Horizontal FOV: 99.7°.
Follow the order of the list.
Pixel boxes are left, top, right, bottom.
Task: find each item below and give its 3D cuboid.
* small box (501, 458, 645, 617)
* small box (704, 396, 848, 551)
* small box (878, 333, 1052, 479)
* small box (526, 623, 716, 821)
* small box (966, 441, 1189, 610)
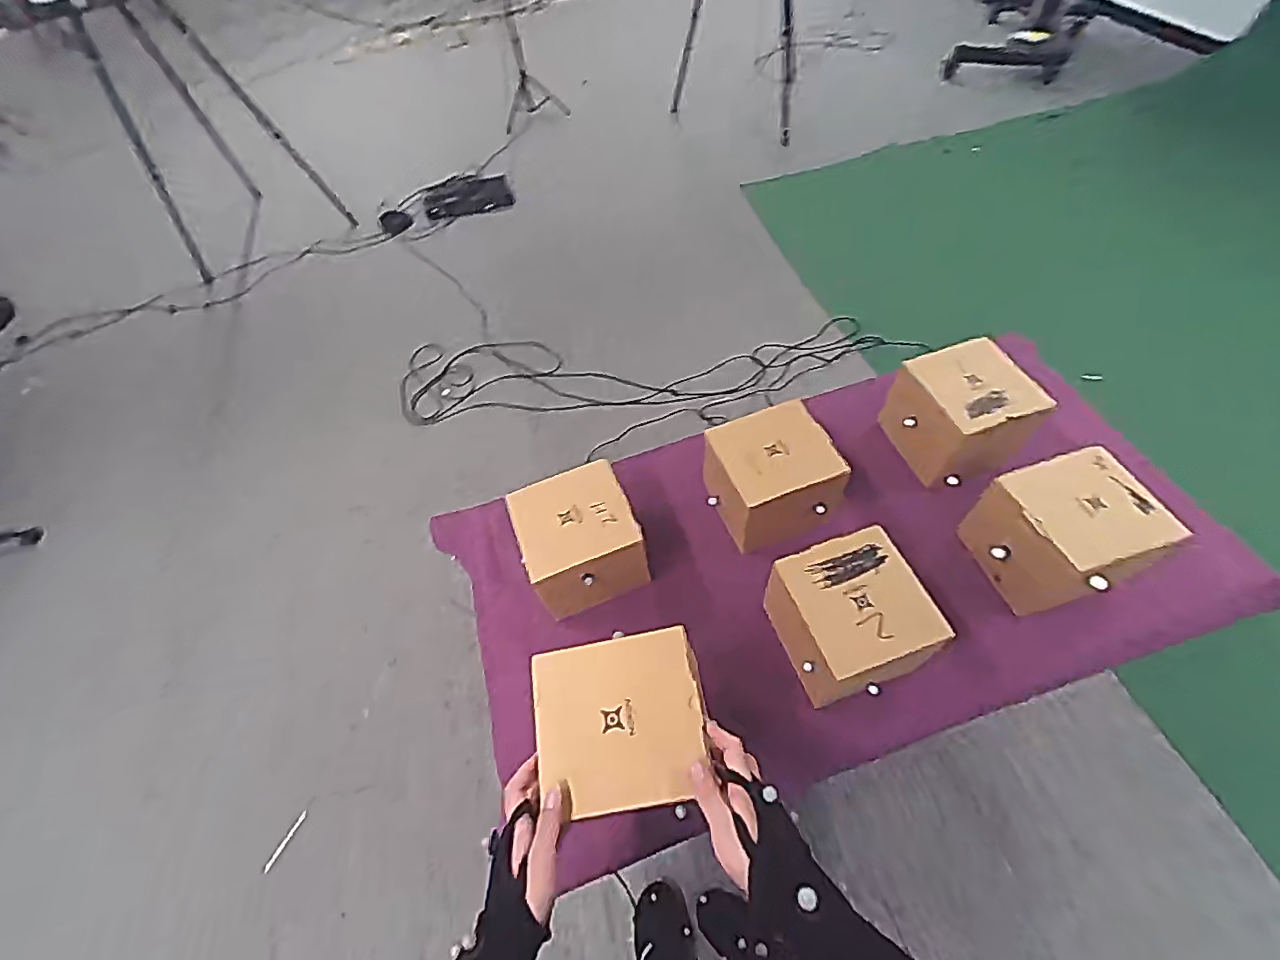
[{"bbox_3d":[-0.103,0.099,0.881,0.179,0.176,0.168,-21,57,-8],"label":"small box"},{"bbox_3d":[0.216,-0.007,0.917,0.179,0.176,0.168,-20,56,-7],"label":"small box"},{"bbox_3d":[0.554,-0.122,0.953,0.168,0.176,0.179,-18,56,-5],"label":"small box"},{"bbox_3d":[-0.017,0.280,0.617,0.179,0.176,0.168,-12,59,3],"label":"small box"},{"bbox_3d":[0.629,0.074,0.814,0.179,0.176,0.168,-17,56,-4],"label":"small box"}]
